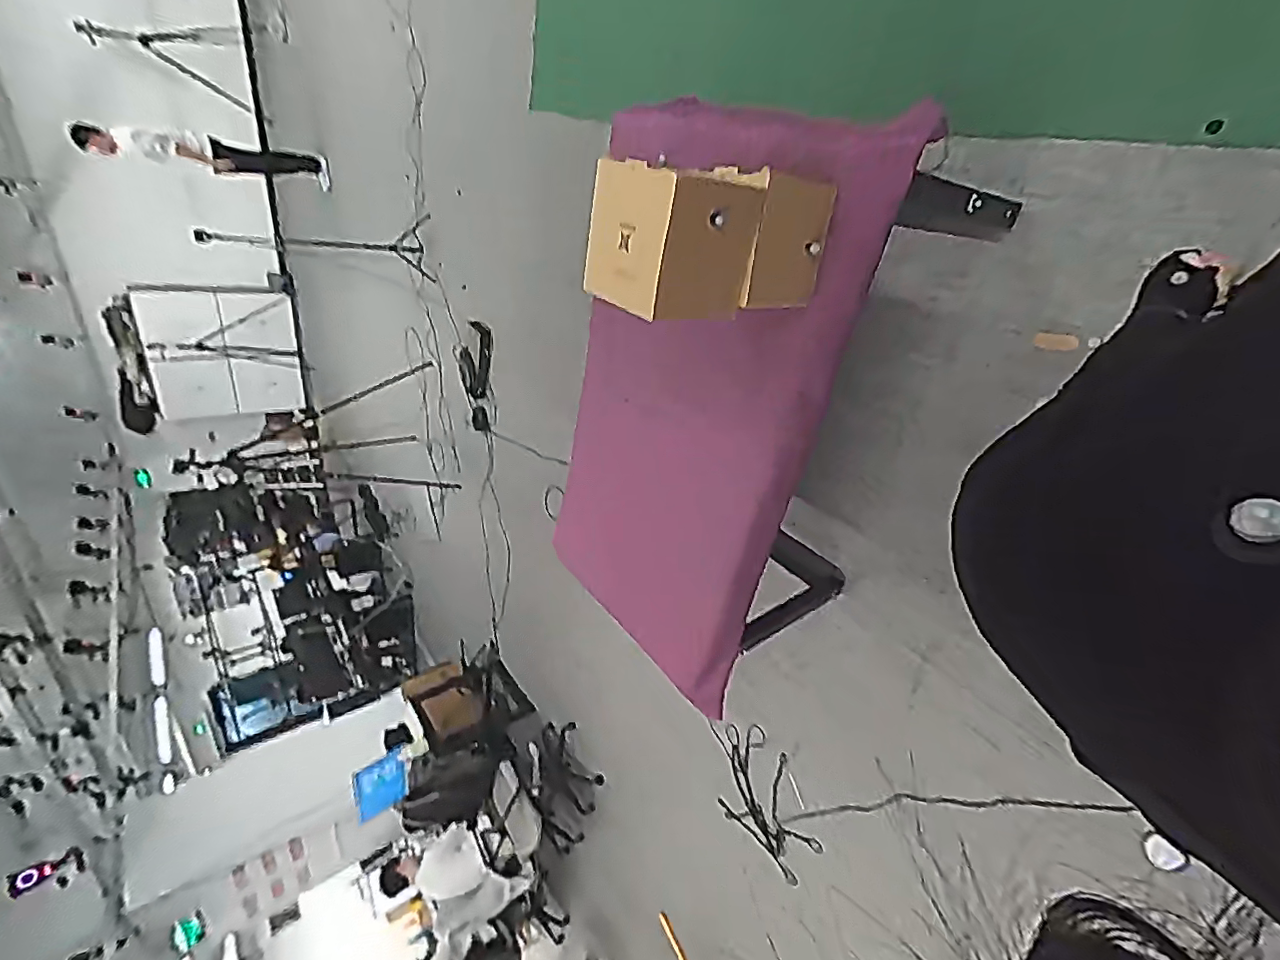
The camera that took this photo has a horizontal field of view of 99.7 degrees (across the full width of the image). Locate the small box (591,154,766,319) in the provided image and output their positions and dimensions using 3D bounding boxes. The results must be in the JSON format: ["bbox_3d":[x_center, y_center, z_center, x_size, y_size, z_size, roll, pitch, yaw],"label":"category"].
[{"bbox_3d":[0.052,-0.342,0.766,0.168,0.176,0.179,39,131,38],"label":"small box"}]

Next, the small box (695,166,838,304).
[{"bbox_3d":[0.185,-0.383,0.854,0.168,0.176,0.179,33,126,42],"label":"small box"}]
